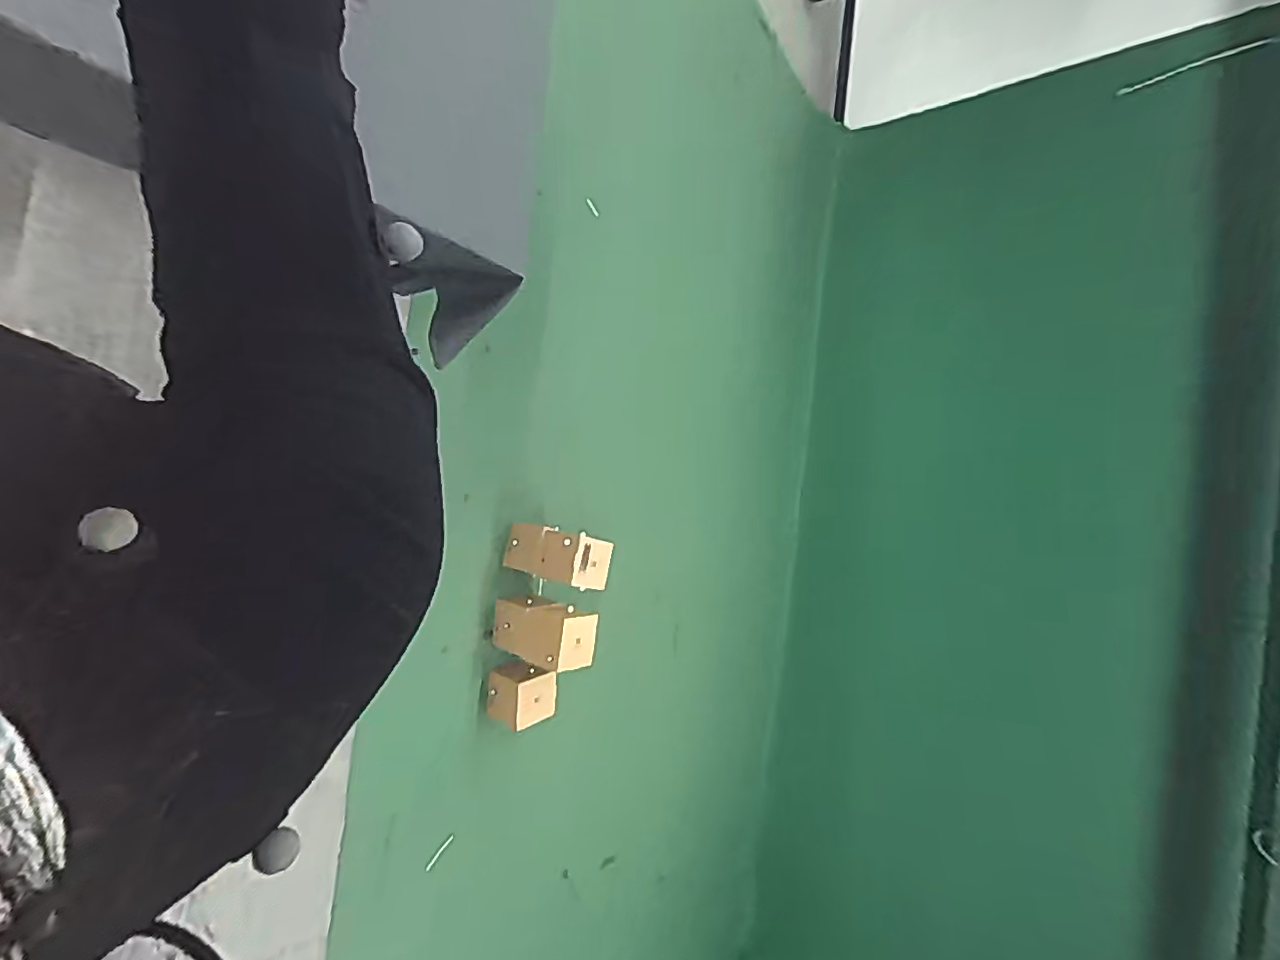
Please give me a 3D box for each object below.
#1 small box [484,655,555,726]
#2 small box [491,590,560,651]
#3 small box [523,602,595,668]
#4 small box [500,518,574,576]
[{"bbox_3d":[-0.429,0.741,1.926,0.179,0.176,0.168,0,94,-53],"label":"small box"},{"bbox_3d":[-0.409,0.494,1.921,0.179,0.176,0.168,5,90,-54],"label":"small box"},{"bbox_3d":[-0.277,0.514,1.827,0.168,0.176,0.179,10,87,-53],"label":"small box"},{"bbox_3d":[-0.369,0.239,1.942,0.179,0.176,0.168,25,73,-50],"label":"small box"}]
